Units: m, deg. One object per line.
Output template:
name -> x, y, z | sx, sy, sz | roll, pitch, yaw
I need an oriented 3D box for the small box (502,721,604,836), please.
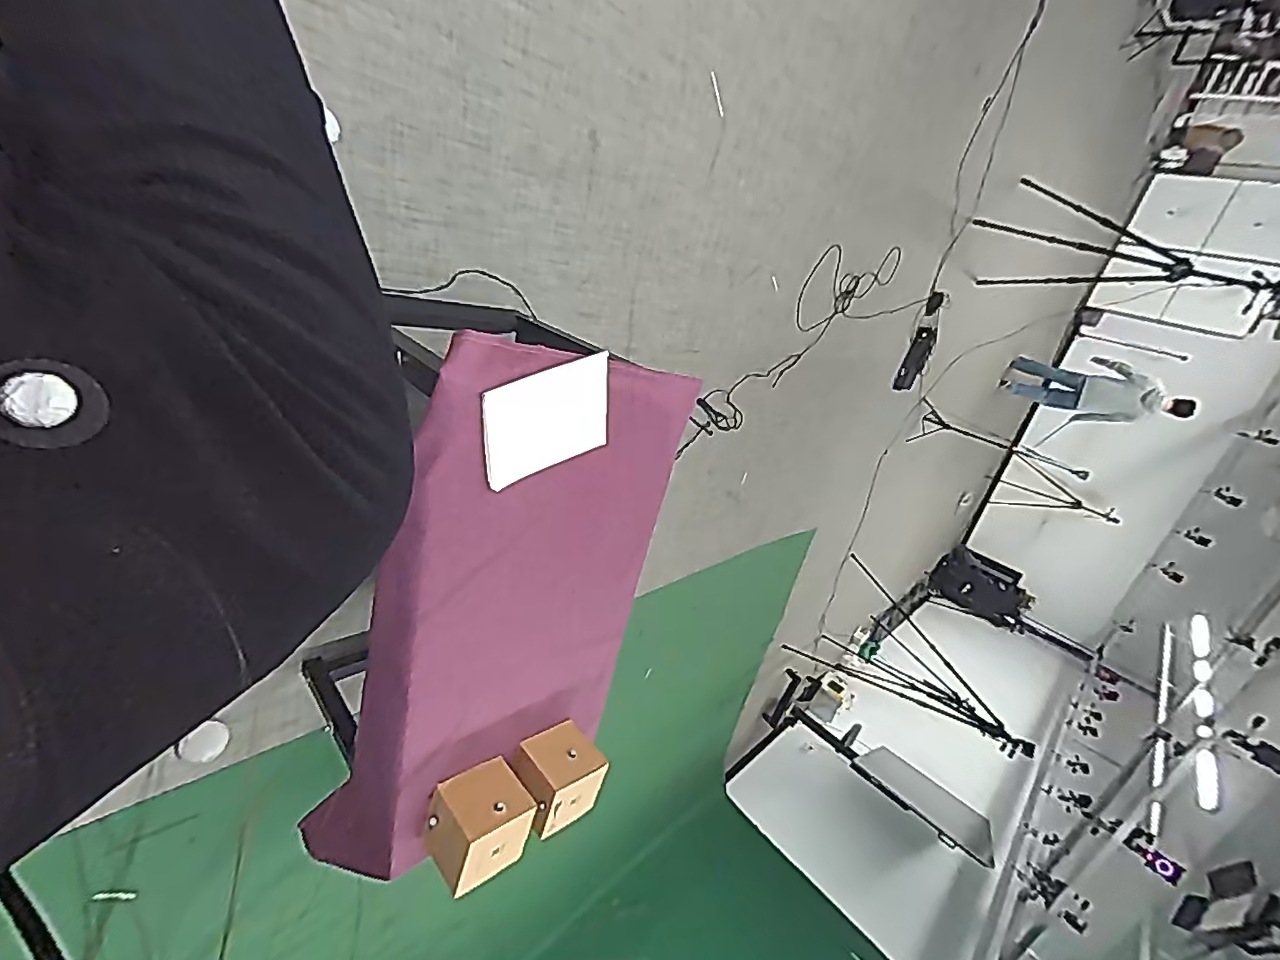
small box -> -0.229, 0.769, 1.416 | 0.179, 0.176, 0.168 | -3, 117, -49
